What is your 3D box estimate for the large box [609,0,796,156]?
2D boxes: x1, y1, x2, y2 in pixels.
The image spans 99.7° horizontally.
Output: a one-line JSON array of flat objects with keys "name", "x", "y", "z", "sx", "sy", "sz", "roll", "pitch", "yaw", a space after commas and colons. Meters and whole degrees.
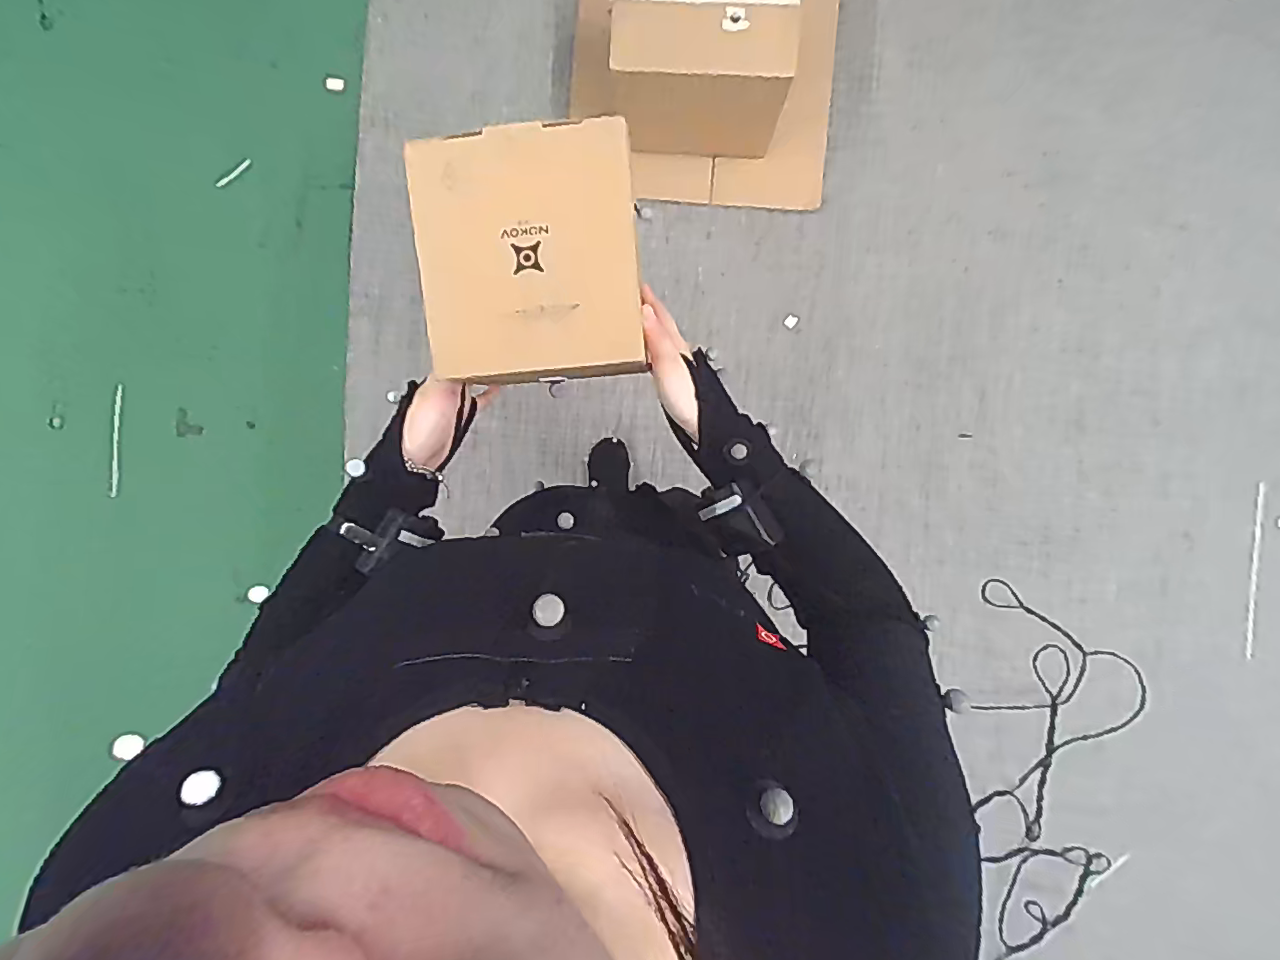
[{"name": "large box", "x": 0.133, "y": -1.024, "z": 1.301, "sx": 0.408, "sy": 0.320, "sz": 0.320, "roll": 3, "pitch": 92, "yaw": 0}]
